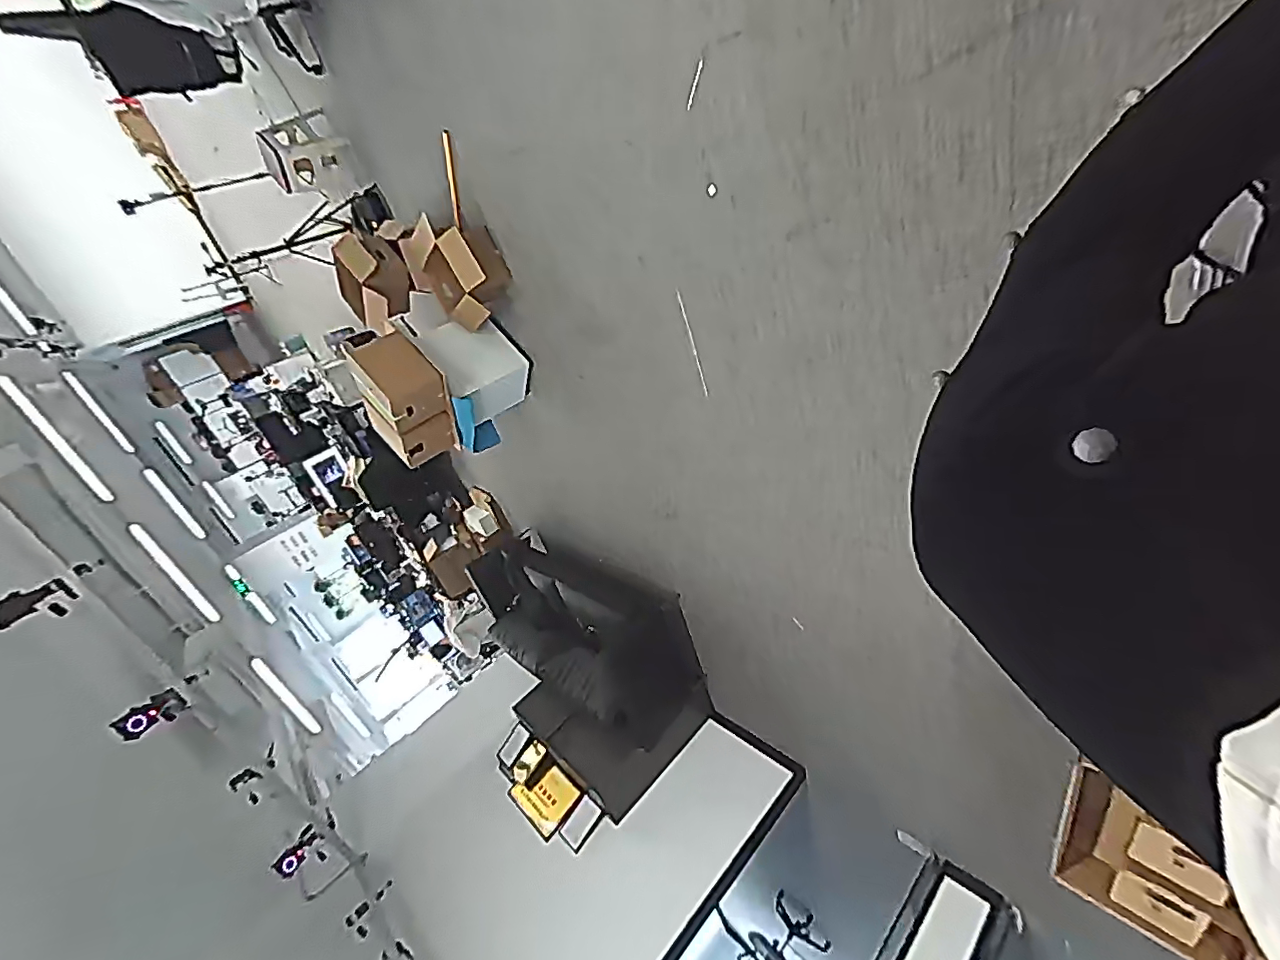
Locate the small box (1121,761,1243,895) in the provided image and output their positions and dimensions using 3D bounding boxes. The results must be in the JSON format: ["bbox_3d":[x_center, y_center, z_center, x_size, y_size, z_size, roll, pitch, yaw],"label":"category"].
[{"bbox_3d":[1.284,0.815,1.282,0.168,0.176,0.179,19,137,45],"label":"small box"}]
